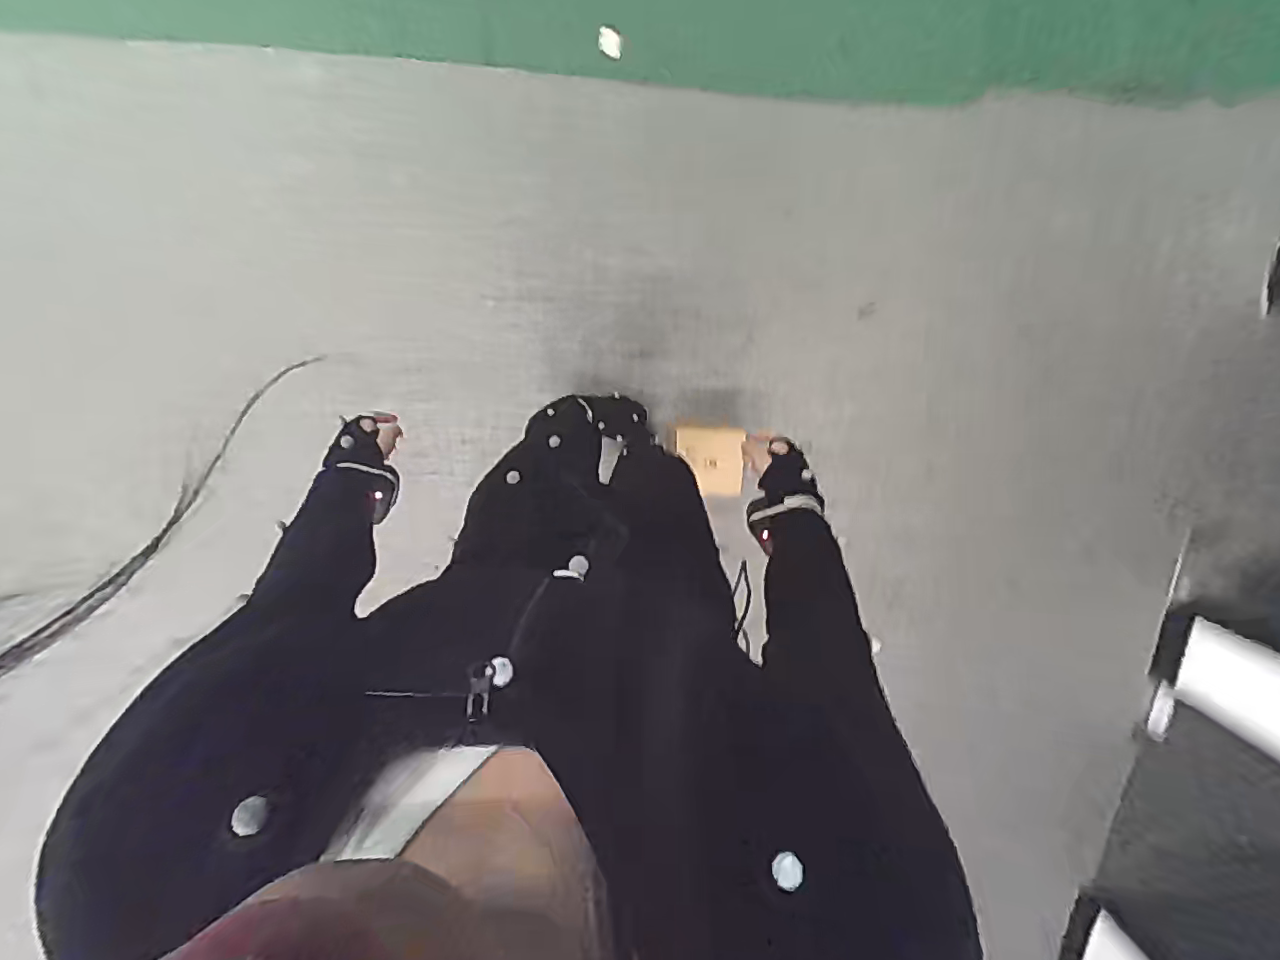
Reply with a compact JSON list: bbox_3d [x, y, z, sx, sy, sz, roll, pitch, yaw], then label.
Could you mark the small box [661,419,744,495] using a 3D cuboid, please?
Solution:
[{"bbox_3d":[0.159,-0.066,1.423,0.179,0.176,0.168,3,105,-5],"label":"small box"}]
